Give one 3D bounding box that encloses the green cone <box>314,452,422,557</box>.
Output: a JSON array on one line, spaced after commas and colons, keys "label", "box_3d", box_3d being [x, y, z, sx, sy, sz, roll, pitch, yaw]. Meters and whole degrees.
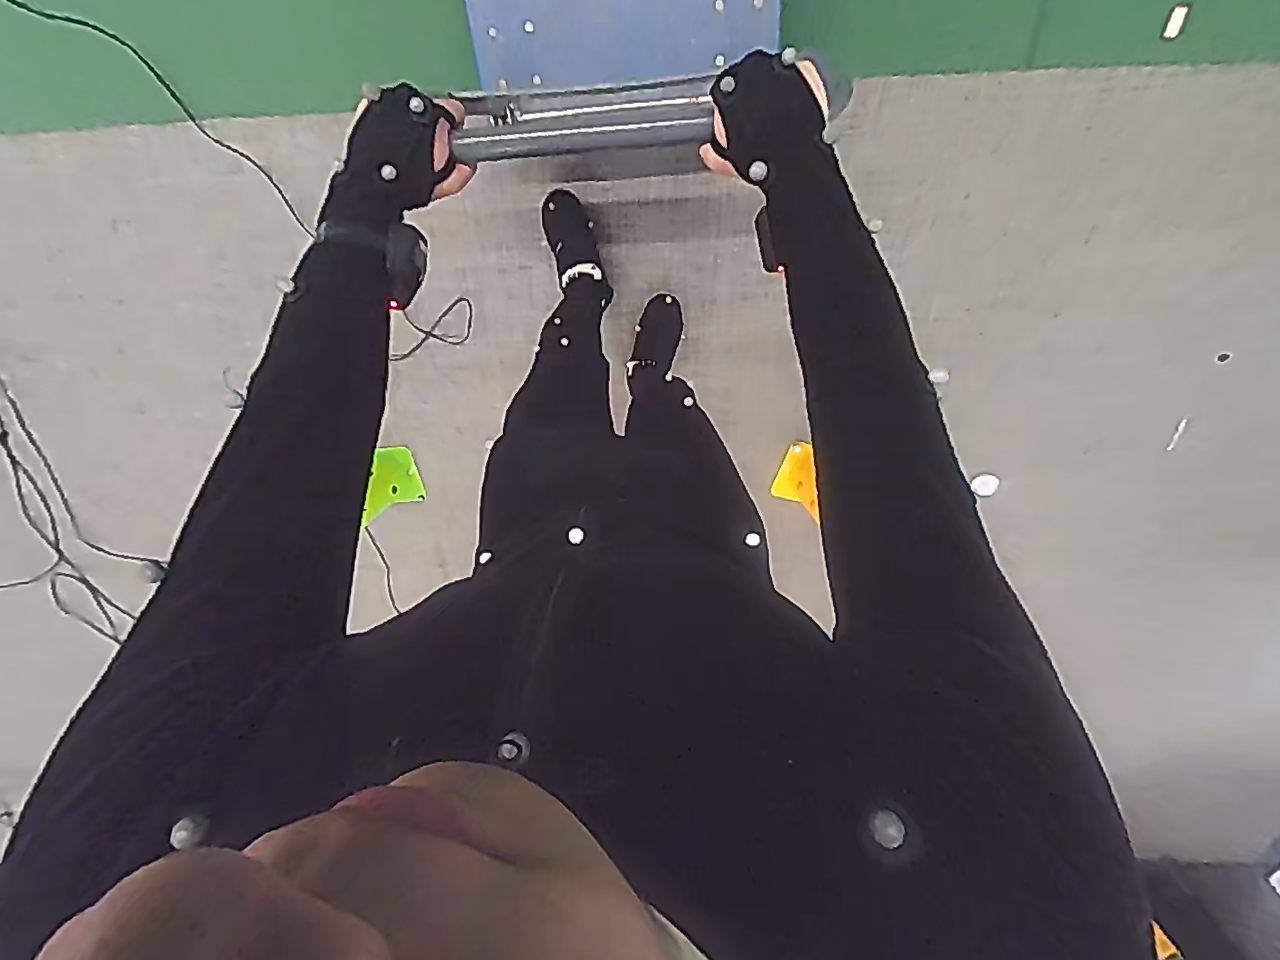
[{"label": "green cone", "box_3d": [-0.819, 0.091, 1.563, 0.202, 0.368, 0.200, -4, 120, 6]}]
